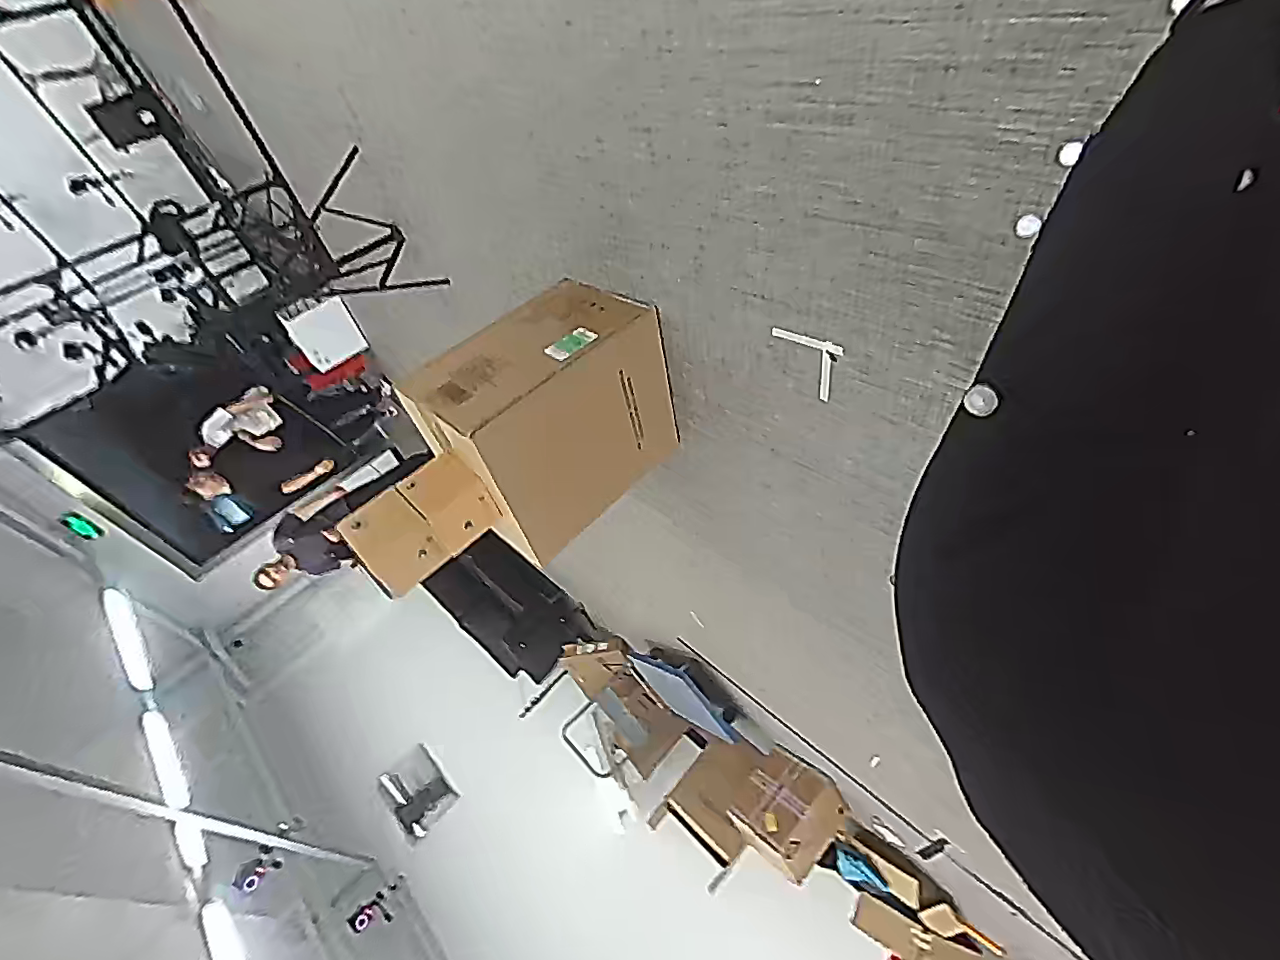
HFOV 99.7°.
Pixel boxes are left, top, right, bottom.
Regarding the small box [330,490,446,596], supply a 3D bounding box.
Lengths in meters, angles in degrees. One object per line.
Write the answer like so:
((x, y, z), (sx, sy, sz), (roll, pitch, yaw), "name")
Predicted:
((-0.624, 0.149, 1.356), (0.179, 0.176, 0.168), (34, 154, 31), "small box")

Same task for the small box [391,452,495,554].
((-0.505, 0.053, 1.419), (0.179, 0.176, 0.168), (33, 152, 33), "small box")
